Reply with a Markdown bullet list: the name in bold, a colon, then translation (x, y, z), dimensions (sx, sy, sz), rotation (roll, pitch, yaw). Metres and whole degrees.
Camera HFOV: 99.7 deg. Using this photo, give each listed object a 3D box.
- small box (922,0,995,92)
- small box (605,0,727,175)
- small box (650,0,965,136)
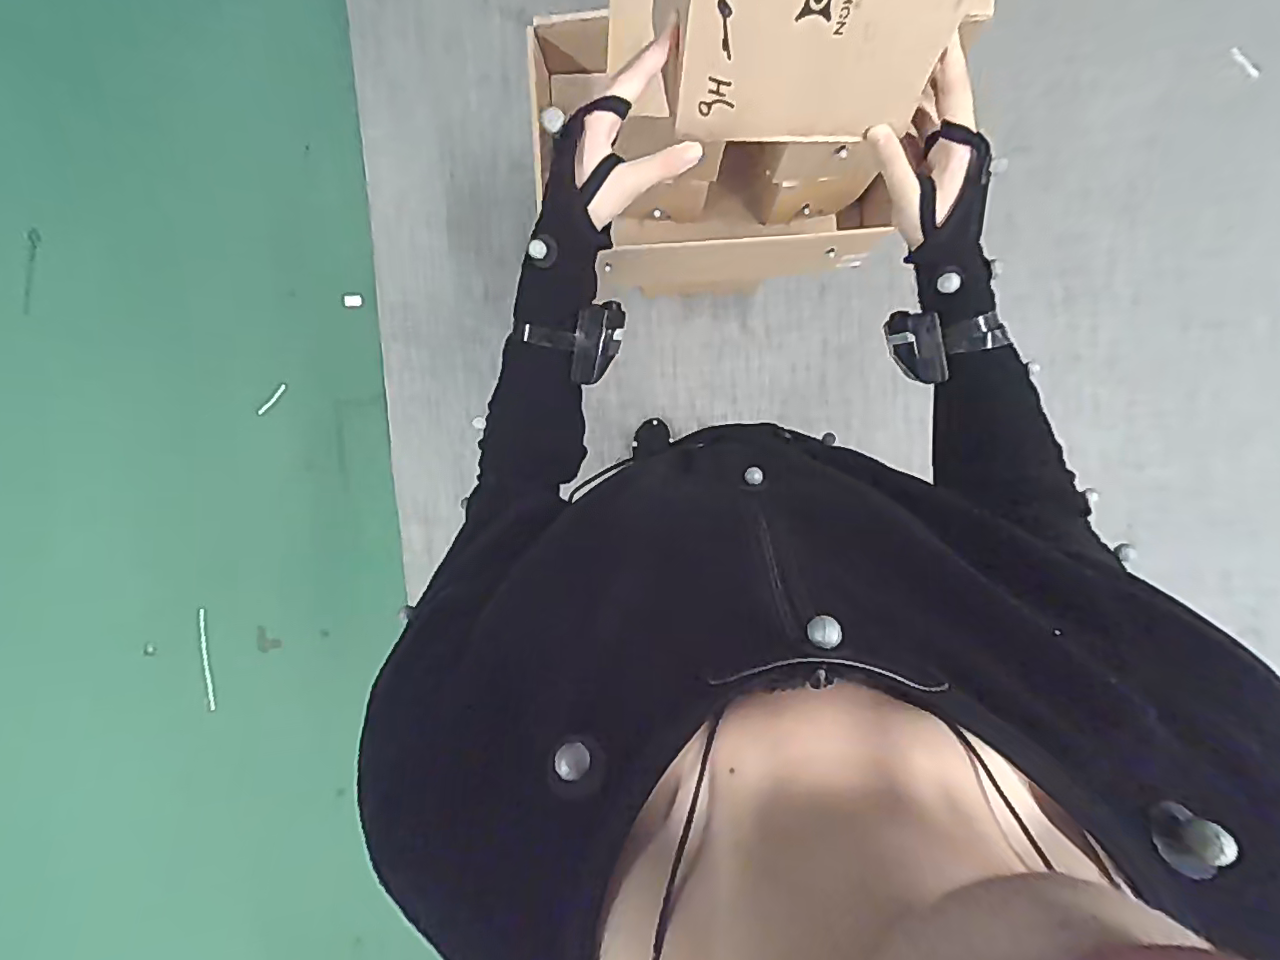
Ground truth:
- **small box**: translation (0.279, -0.562, 0.623), dimensions (0.179, 0.176, 0.168), rotation (1, 95, 4)
- **small box**: translation (0.045, -0.578, 0.801), dimensions (0.179, 0.176, 0.168), rotation (4, 94, 0)
- **small box**: translation (0.106, -0.360, 0.356), dimensions (0.179, 0.168, 0.176), rotation (-3, 62, -6)
